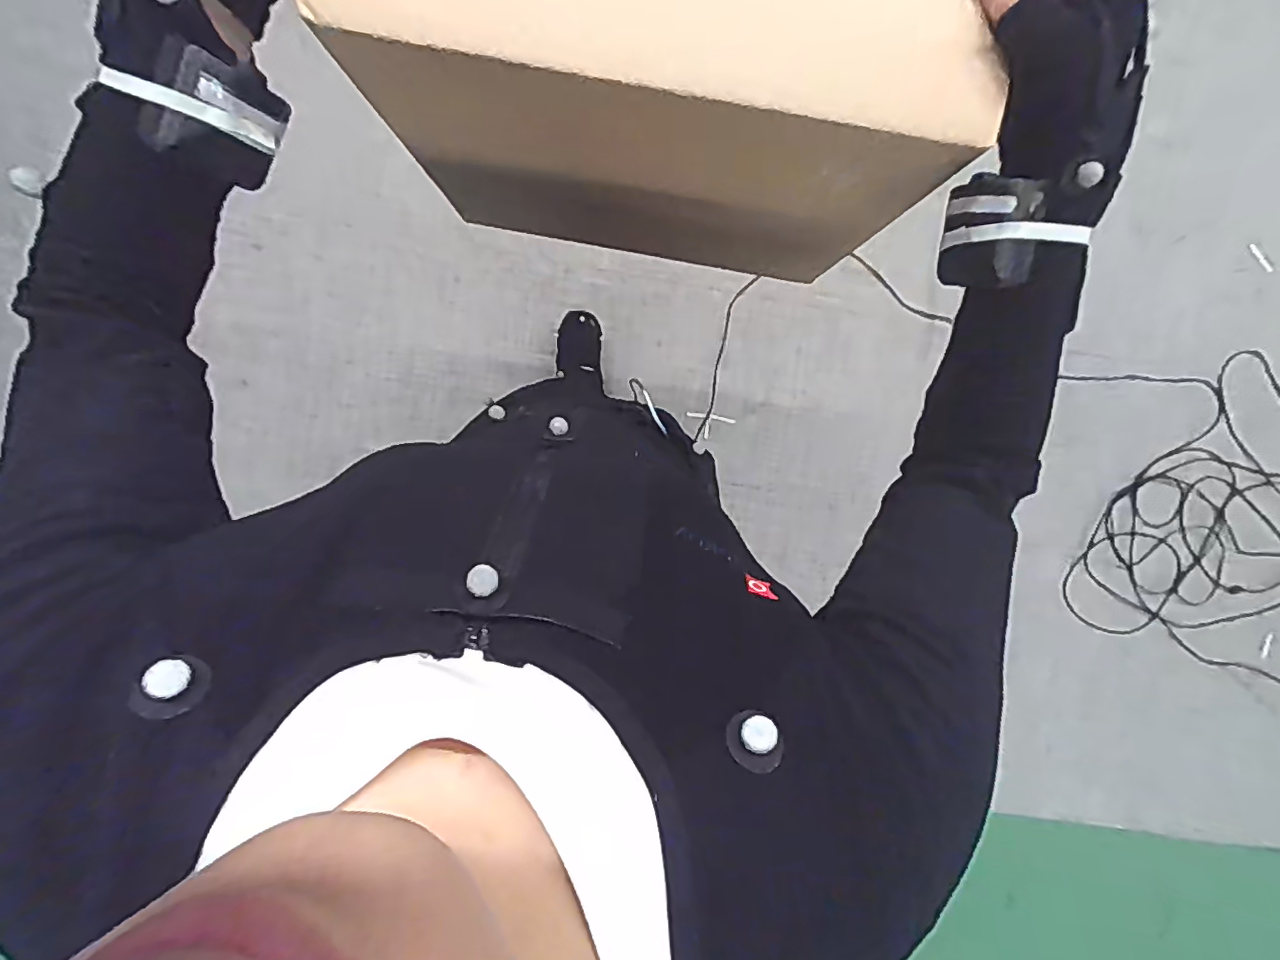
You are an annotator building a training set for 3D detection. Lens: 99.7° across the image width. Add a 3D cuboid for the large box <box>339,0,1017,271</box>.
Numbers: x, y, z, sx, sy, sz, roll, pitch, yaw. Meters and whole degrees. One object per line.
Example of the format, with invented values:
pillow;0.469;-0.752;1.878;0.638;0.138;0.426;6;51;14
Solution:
large box;0.034;-0.401;0.455;0.408;0.320;0.320;8;96;-4
